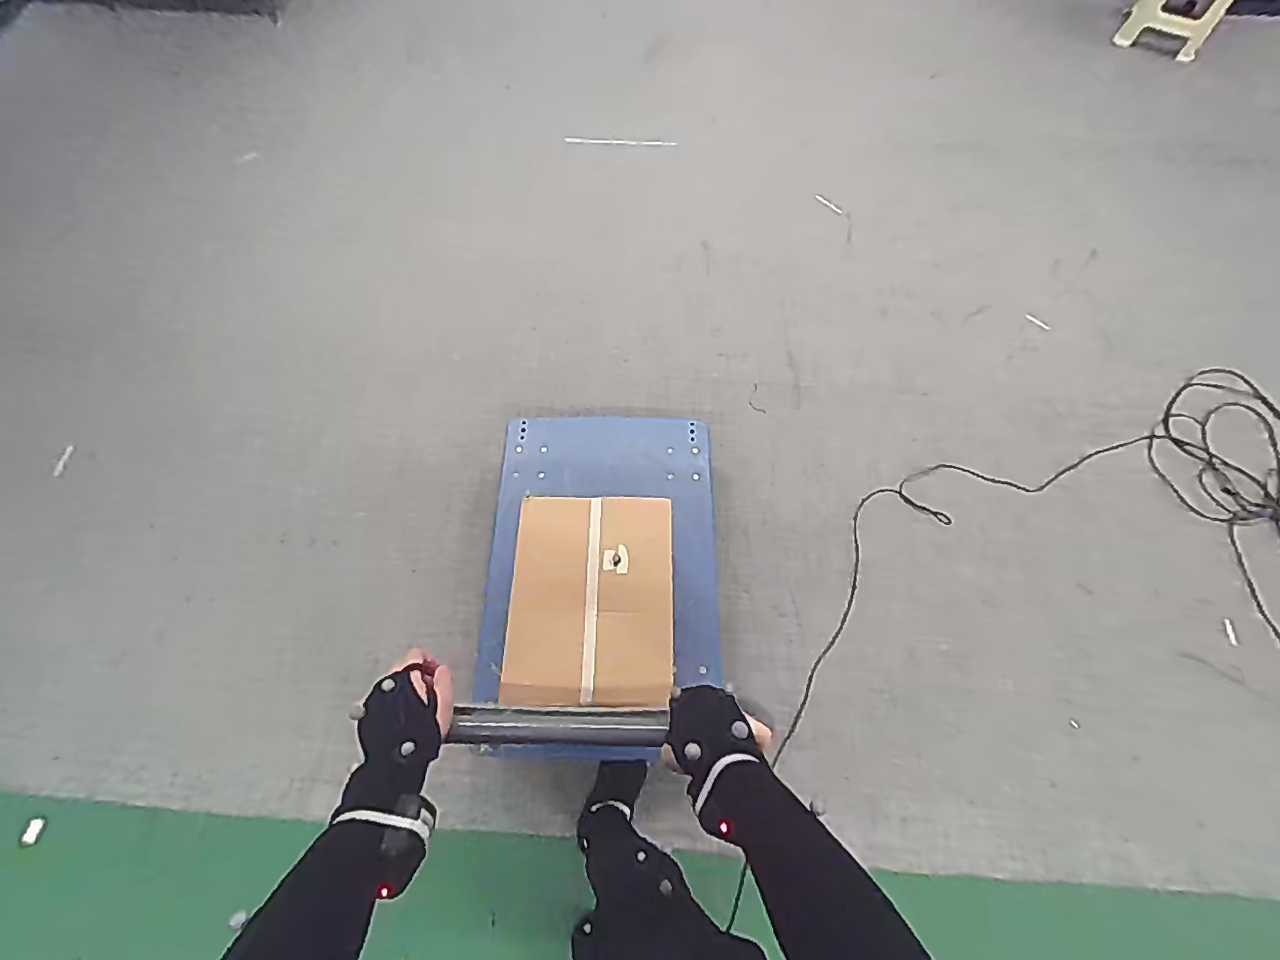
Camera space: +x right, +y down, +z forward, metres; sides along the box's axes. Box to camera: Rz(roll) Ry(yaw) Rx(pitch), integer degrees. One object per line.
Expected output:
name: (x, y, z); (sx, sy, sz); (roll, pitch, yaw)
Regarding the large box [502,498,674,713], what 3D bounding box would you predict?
large box: (-0.093, 0.284, 1.179); (0.320, 0.320, 0.408); (1, 64, 0)
